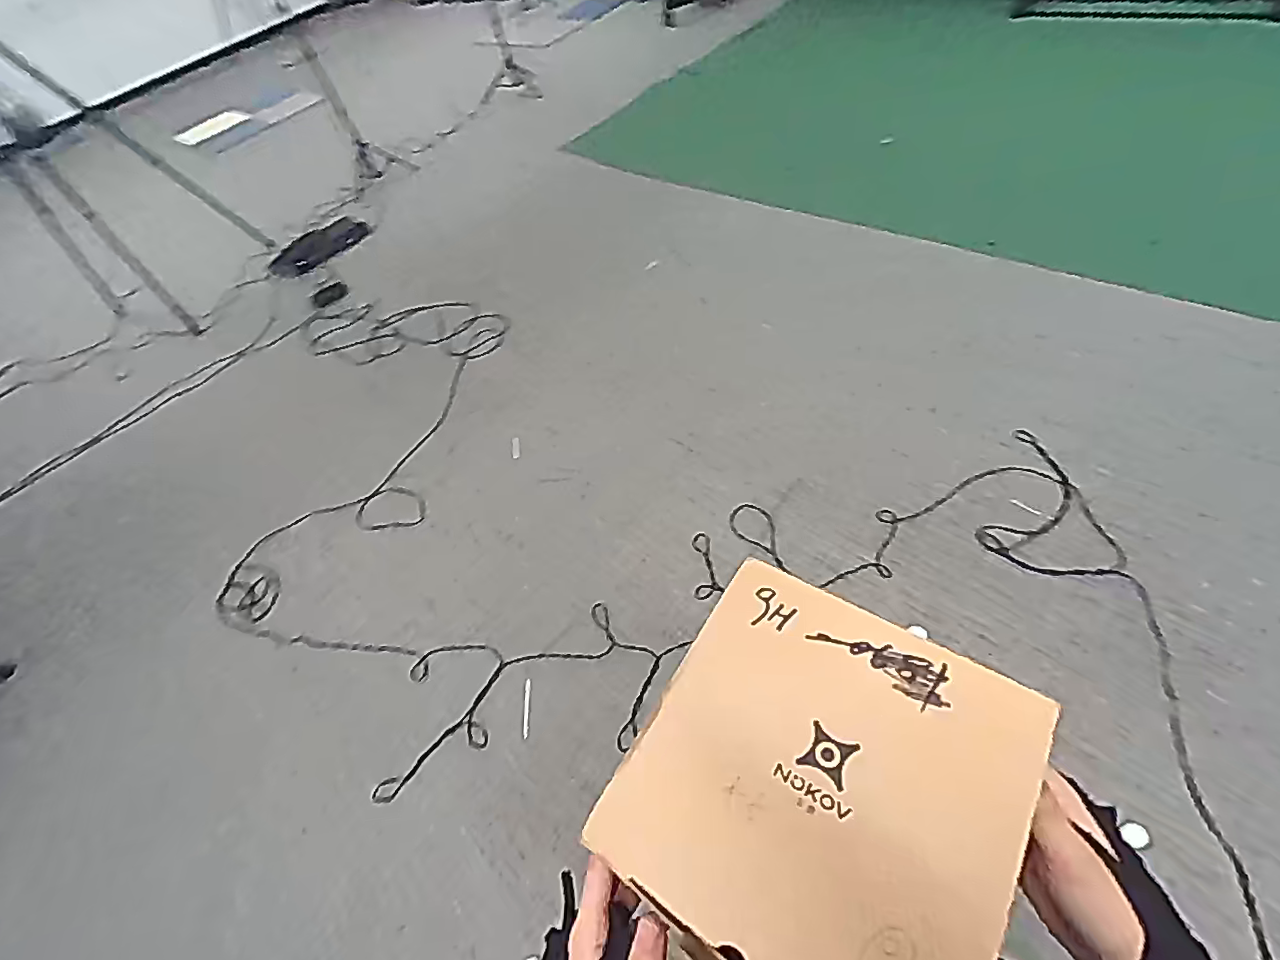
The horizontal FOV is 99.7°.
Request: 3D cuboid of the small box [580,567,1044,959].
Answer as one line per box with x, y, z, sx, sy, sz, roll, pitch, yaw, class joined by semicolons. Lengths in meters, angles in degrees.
0.097;0.191;0.326;0.168;0.176;0.179;25;64;27;small box
